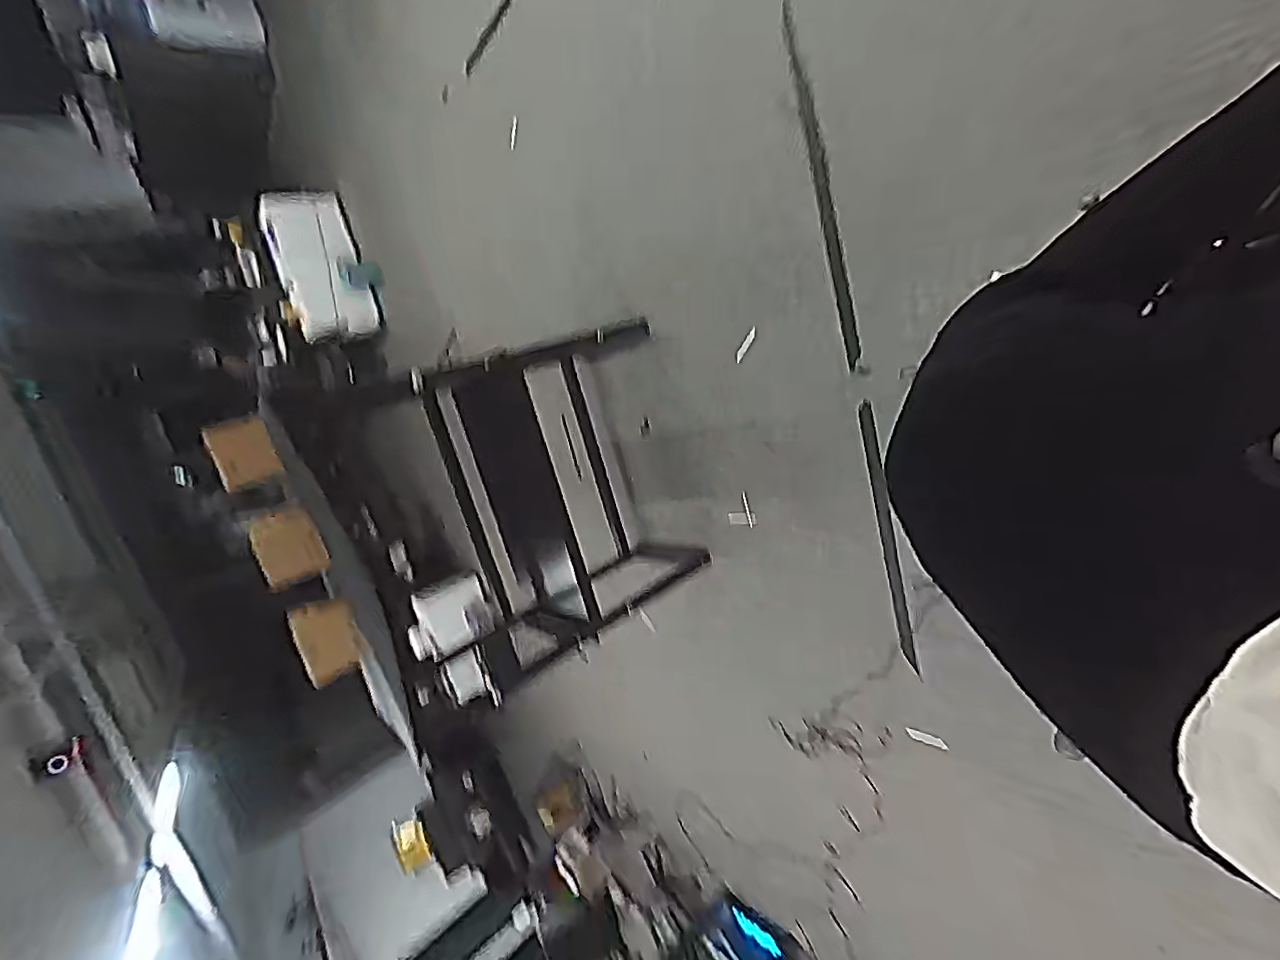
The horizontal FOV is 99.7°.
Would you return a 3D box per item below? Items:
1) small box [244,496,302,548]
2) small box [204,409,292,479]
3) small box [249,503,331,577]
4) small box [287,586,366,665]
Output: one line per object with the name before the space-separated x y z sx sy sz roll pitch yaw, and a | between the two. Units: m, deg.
small box | -1.242 0.164 1.876 0.168 0.176 0.179 3 112 52
small box | -1.175 -0.113 1.625 0.179 0.176 0.168 6 115 52
small box | -1.086 0.178 1.680 0.179 0.176 0.168 4 113 53
small box | -1.009 0.462 1.749 0.179 0.176 0.168 3 112 53
